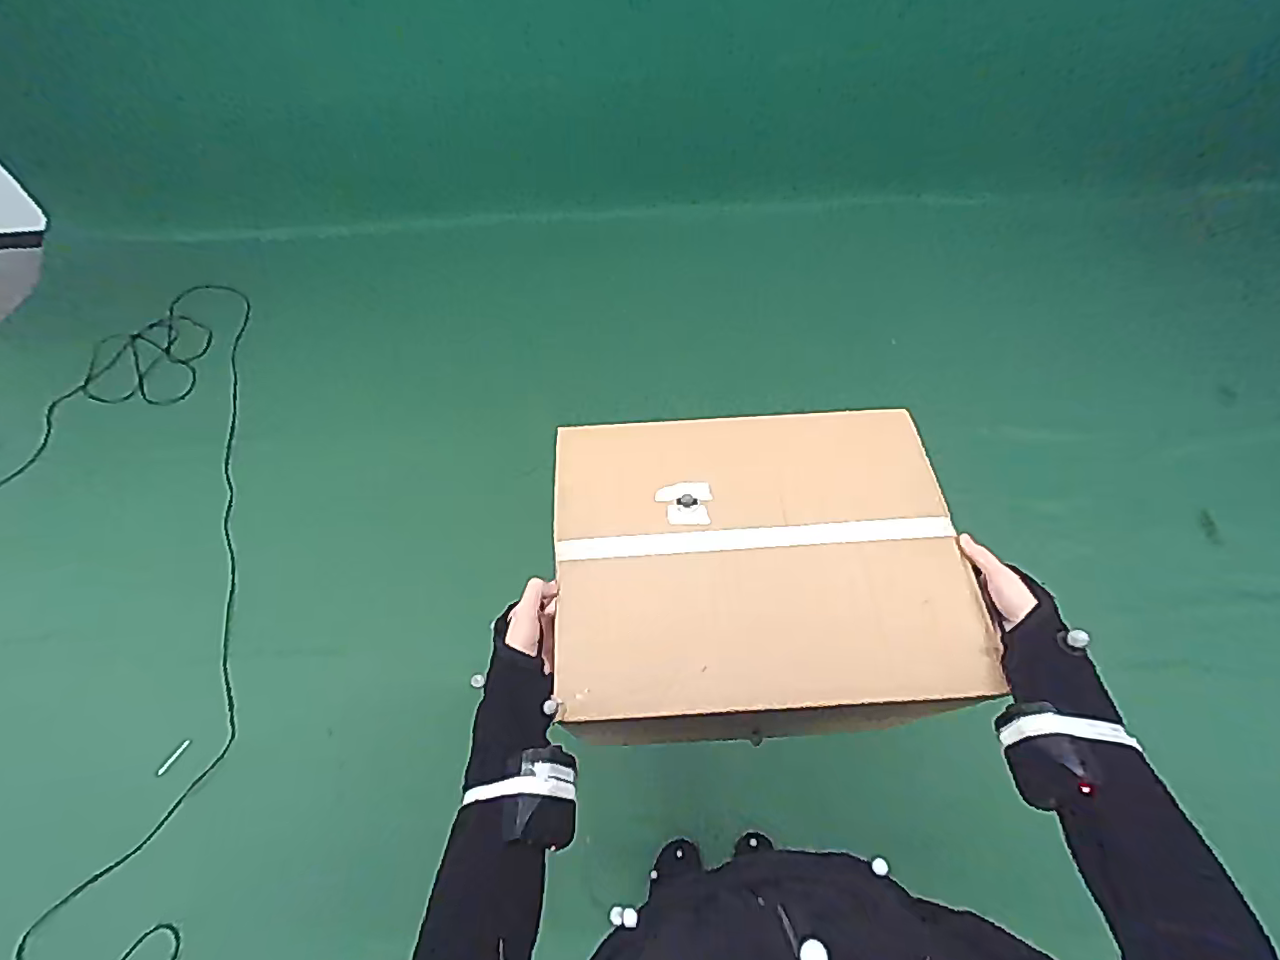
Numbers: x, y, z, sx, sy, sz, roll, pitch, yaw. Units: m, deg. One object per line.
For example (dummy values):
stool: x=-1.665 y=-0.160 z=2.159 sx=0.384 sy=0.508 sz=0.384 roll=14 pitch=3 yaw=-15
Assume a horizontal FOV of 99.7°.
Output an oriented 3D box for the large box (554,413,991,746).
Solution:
large box: x=0.118 y=0.144 z=0.687 sx=0.408 sy=0.320 sz=0.320 roll=-5 pitch=59 yaw=0
